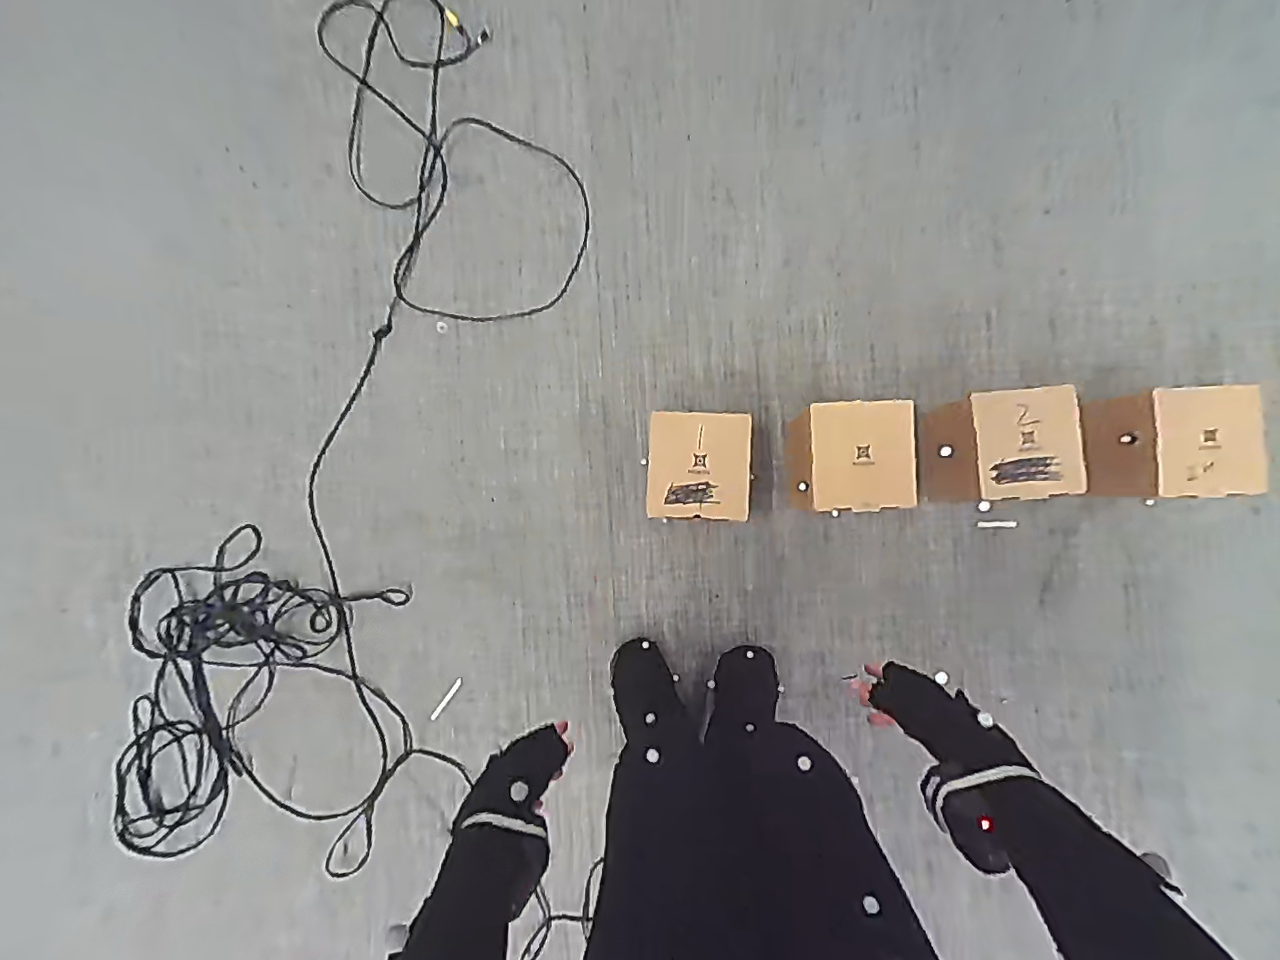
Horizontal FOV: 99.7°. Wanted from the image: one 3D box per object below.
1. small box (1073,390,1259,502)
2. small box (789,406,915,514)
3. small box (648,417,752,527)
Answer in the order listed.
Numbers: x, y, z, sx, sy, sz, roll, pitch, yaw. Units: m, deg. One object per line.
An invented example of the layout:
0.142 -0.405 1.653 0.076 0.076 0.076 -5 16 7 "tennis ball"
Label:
0.893 -0.052 0.937 0.168 0.176 0.179 -2 88 3 "small box"
0.364 -0.029 0.959 0.168 0.176 0.179 -2 88 4 "small box"
0.104 -0.012 0.969 0.168 0.176 0.179 2 88 3 "small box"
